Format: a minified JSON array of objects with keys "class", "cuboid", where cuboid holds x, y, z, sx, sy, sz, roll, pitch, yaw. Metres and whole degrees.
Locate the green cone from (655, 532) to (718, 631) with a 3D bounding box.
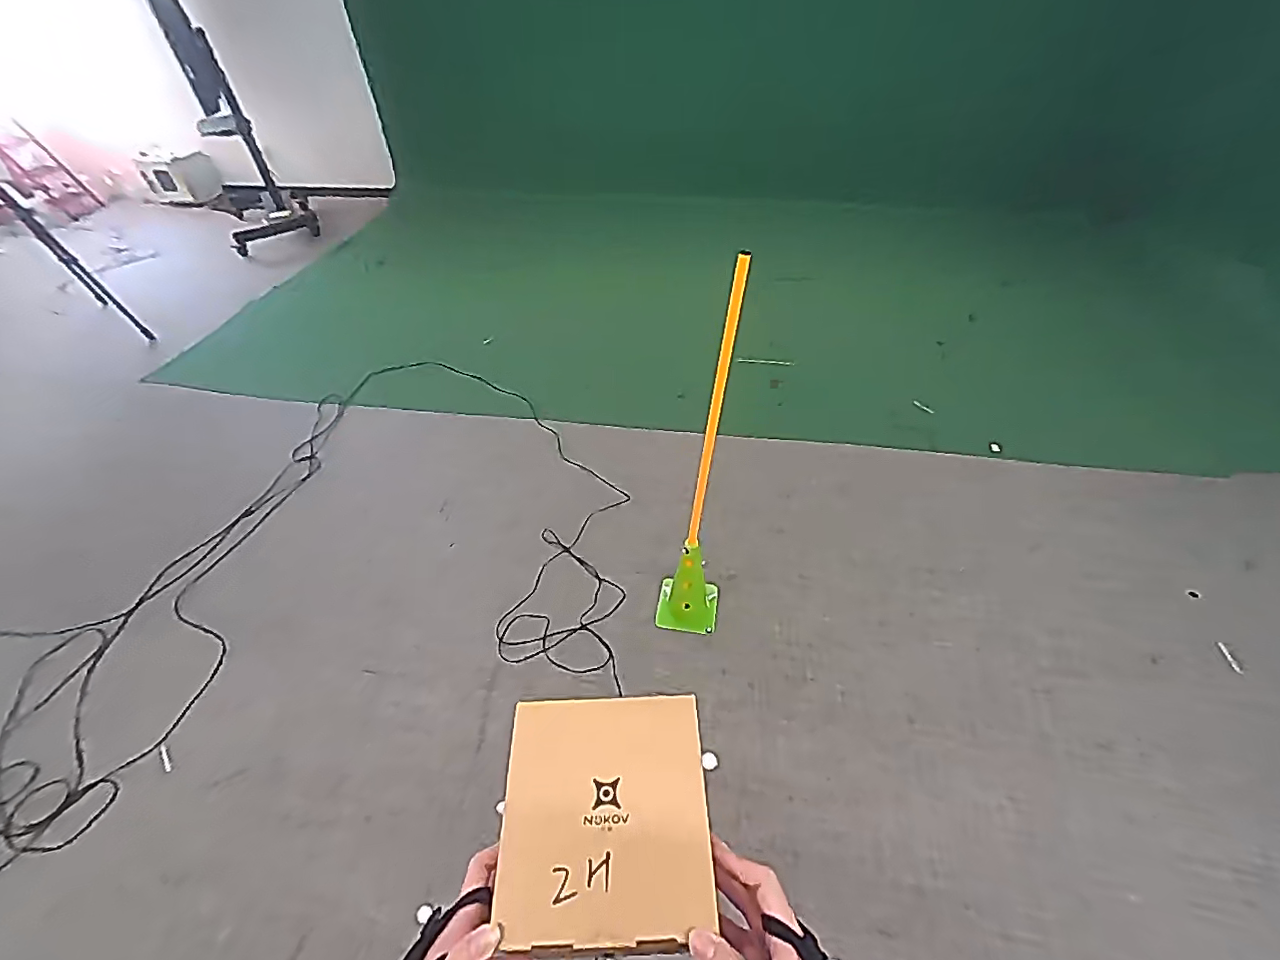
[{"class":"green cone","cuboid":[0.155,0.297,1.739,0.202,0.368,0.200,5,44,9]}]
